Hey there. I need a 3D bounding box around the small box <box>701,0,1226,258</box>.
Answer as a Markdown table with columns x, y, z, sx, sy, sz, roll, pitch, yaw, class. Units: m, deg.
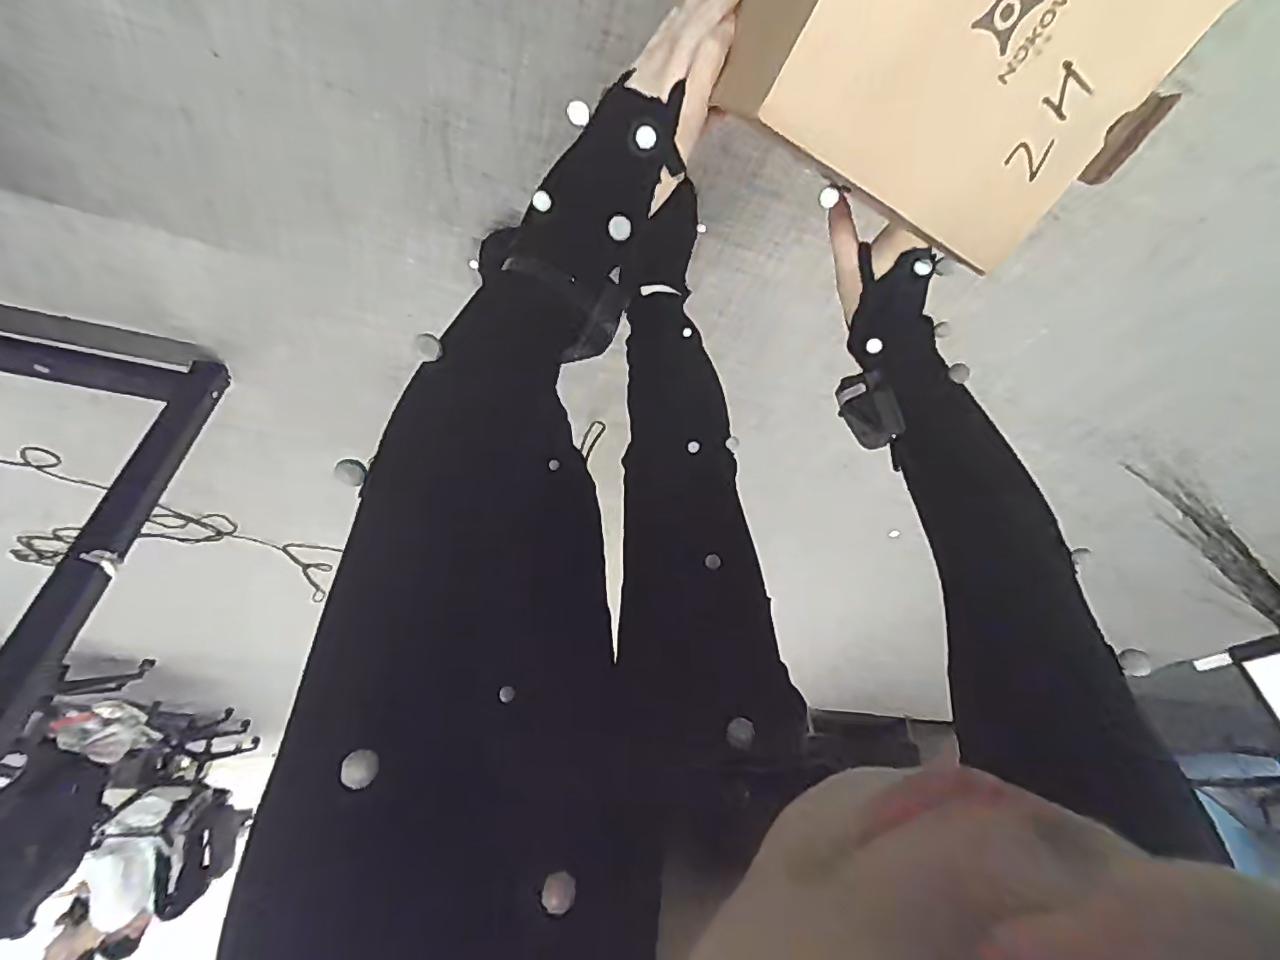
| x | y | z | sx | sy | sz | roll | pitch | yaw | class |
| --- | --- | --- | --- | --- | --- | --- | --- | --- | --- |
| 0.153 | -0.257 | 0.292 | 0.179 | 0.176 | 0.168 | 19 | 126 | -22 | small box |
